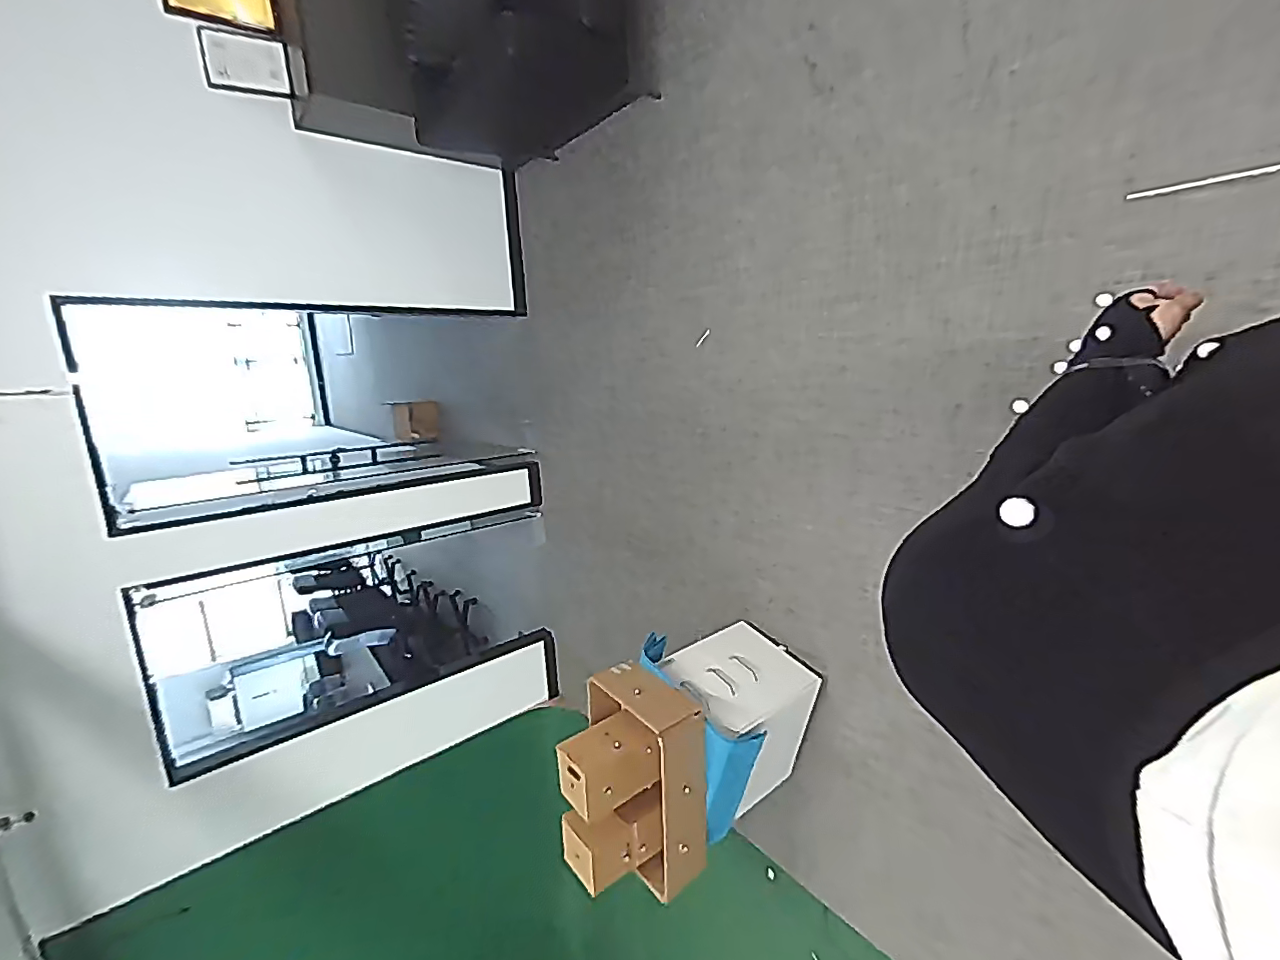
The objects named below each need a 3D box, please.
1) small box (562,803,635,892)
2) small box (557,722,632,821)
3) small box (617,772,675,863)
[{"bbox_3d":[-0.133,1.143,1.725,0.179,0.176,0.168,14,109,51],"label":"small box"},{"bbox_3d":[-0.137,0.885,1.664,0.168,0.176,0.179,14,111,51],"label":"small box"},{"bbox_3d":[0.000,1.120,1.817,0.179,0.176,0.168,15,110,52],"label":"small box"}]
